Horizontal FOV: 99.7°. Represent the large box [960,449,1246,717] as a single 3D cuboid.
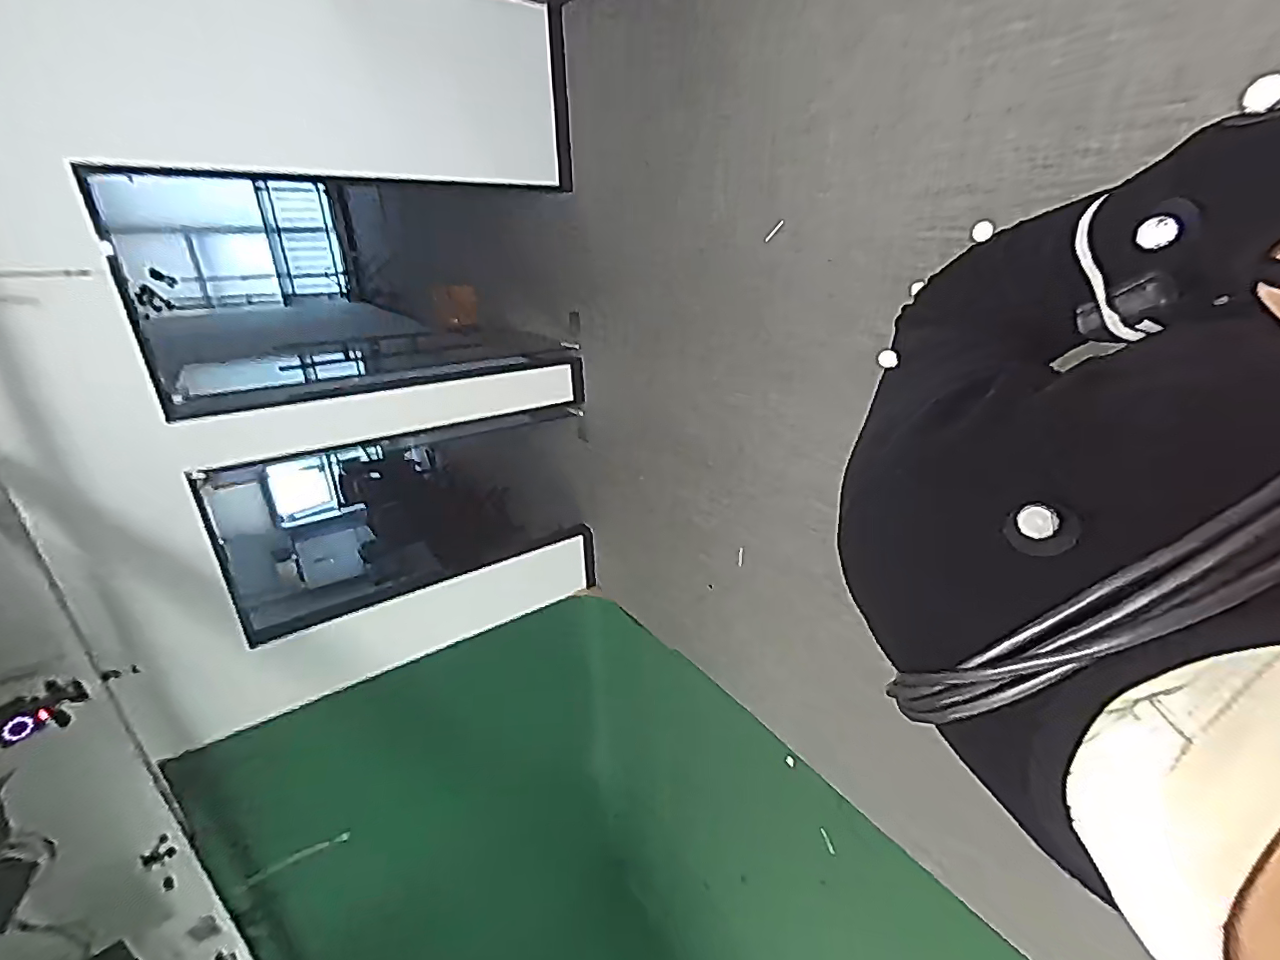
[{"bbox_3d":[0.959,0.192,1.150,0.320,0.320,0.408,33,131,45],"label":"large box"}]
